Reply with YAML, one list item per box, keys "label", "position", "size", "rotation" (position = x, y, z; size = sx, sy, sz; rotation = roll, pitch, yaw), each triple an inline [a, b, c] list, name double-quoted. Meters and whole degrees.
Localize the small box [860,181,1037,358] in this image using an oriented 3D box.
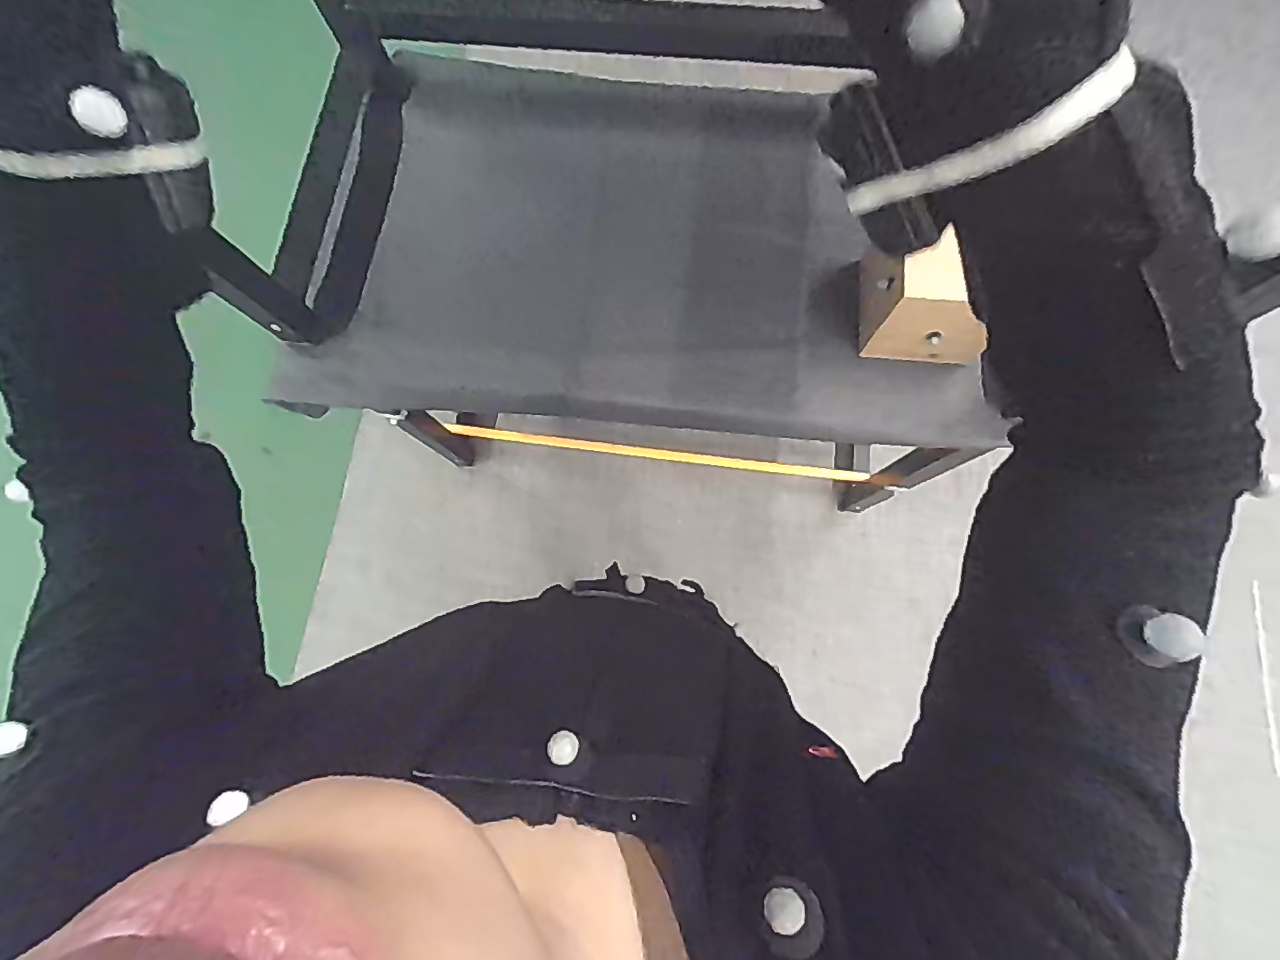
- label: "small box"
  position: [0.429, -0.292, 0.778]
  size: [0.168, 0.176, 0.179]
  rotation: [5, 77, 3]
